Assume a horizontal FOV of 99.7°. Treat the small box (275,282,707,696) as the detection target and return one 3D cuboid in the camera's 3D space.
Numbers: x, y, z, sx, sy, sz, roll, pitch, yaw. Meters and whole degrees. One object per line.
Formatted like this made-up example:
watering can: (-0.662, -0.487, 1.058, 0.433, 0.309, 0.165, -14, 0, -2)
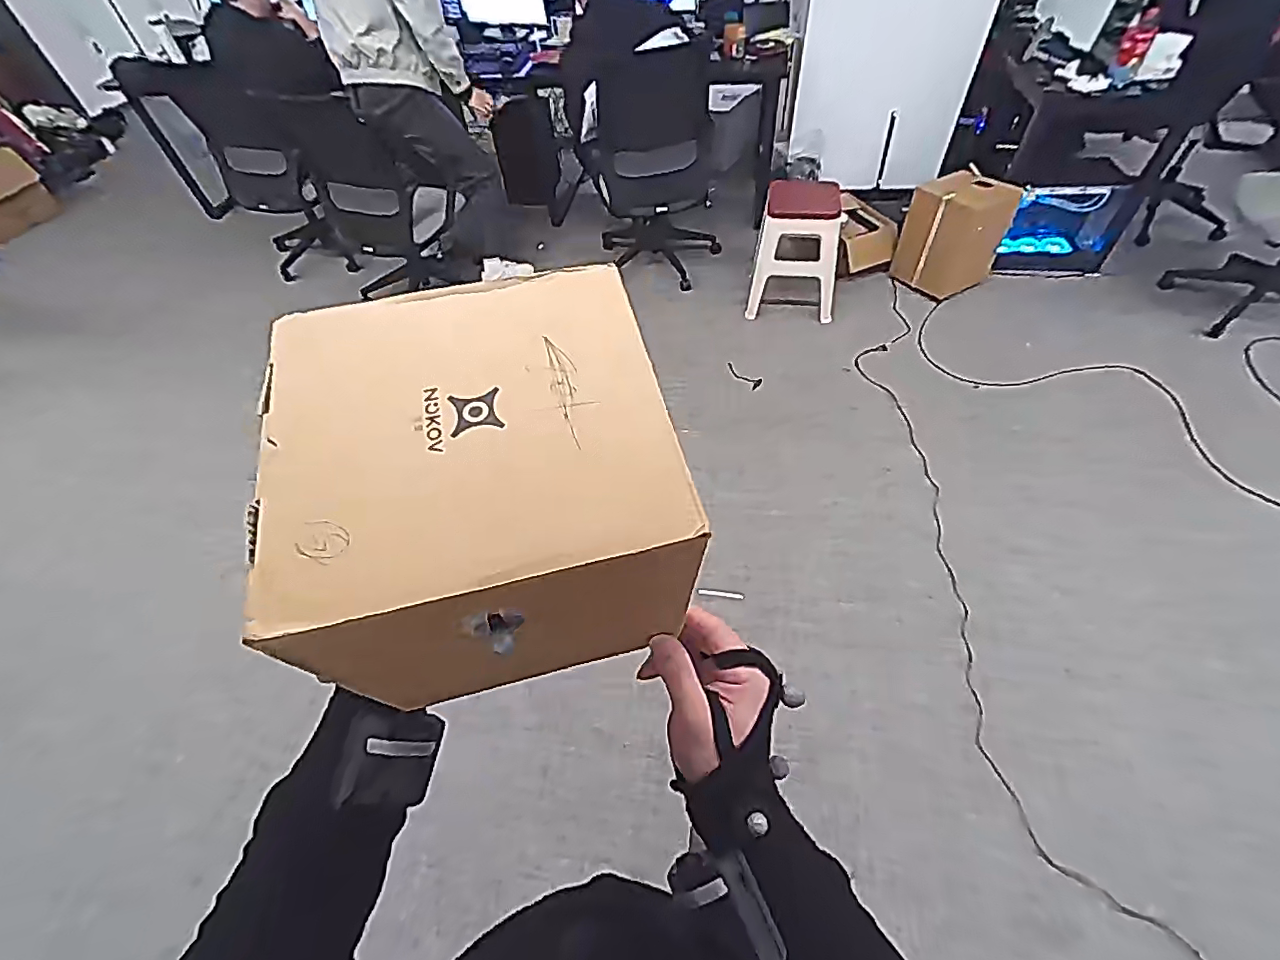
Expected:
small box: (-0.075, 0.015, 0.321, 0.179, 0.176, 0.168, -12, 61, -9)
